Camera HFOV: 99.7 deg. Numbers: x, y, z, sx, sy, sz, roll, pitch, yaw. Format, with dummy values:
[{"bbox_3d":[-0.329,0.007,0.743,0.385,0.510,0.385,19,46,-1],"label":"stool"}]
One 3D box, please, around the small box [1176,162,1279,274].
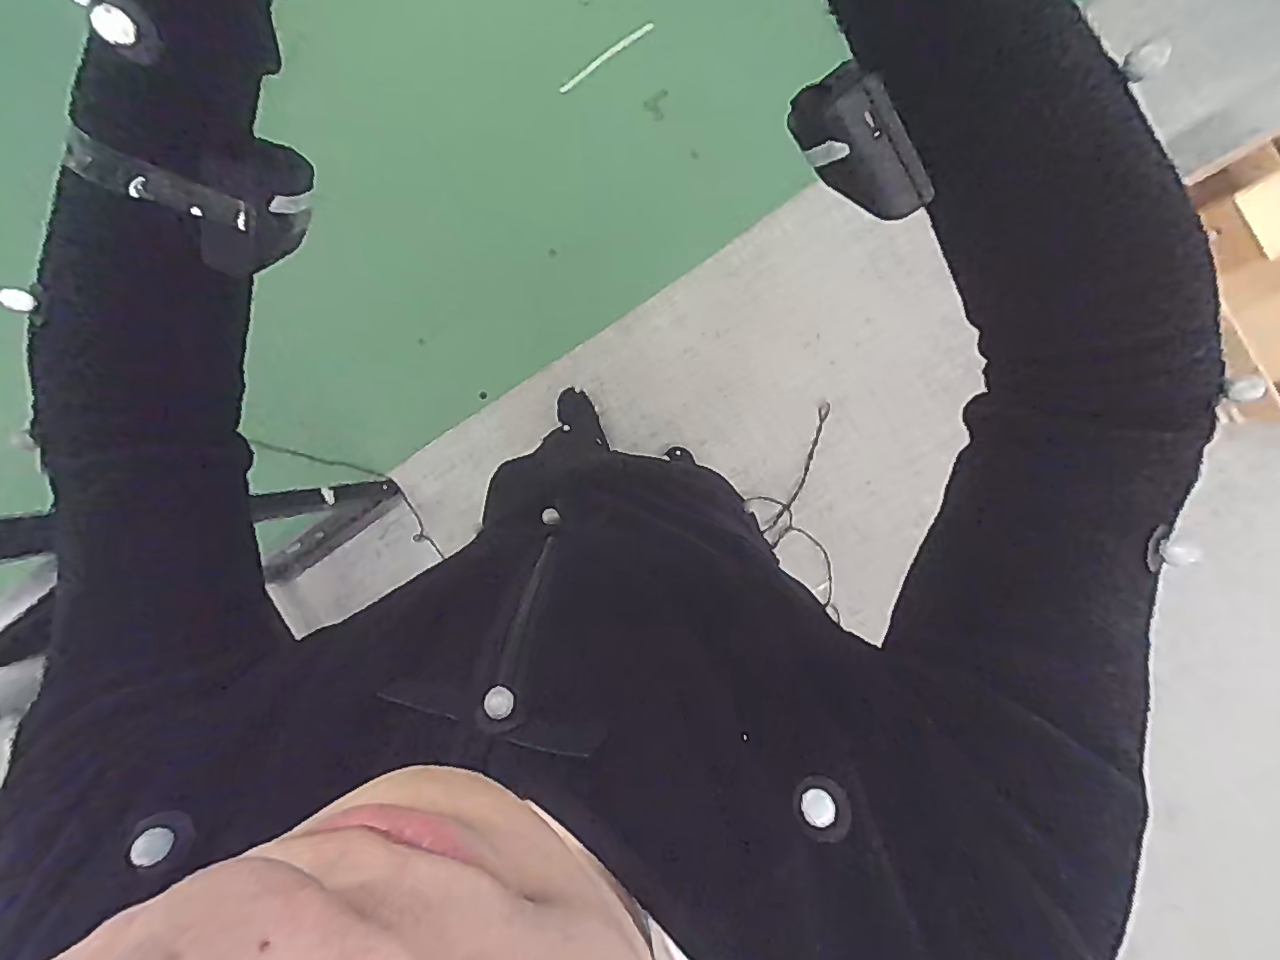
[{"bbox_3d":[1.440,-0.620,1.280,0.179,0.176,0.168,-31,90,7],"label":"small box"}]
